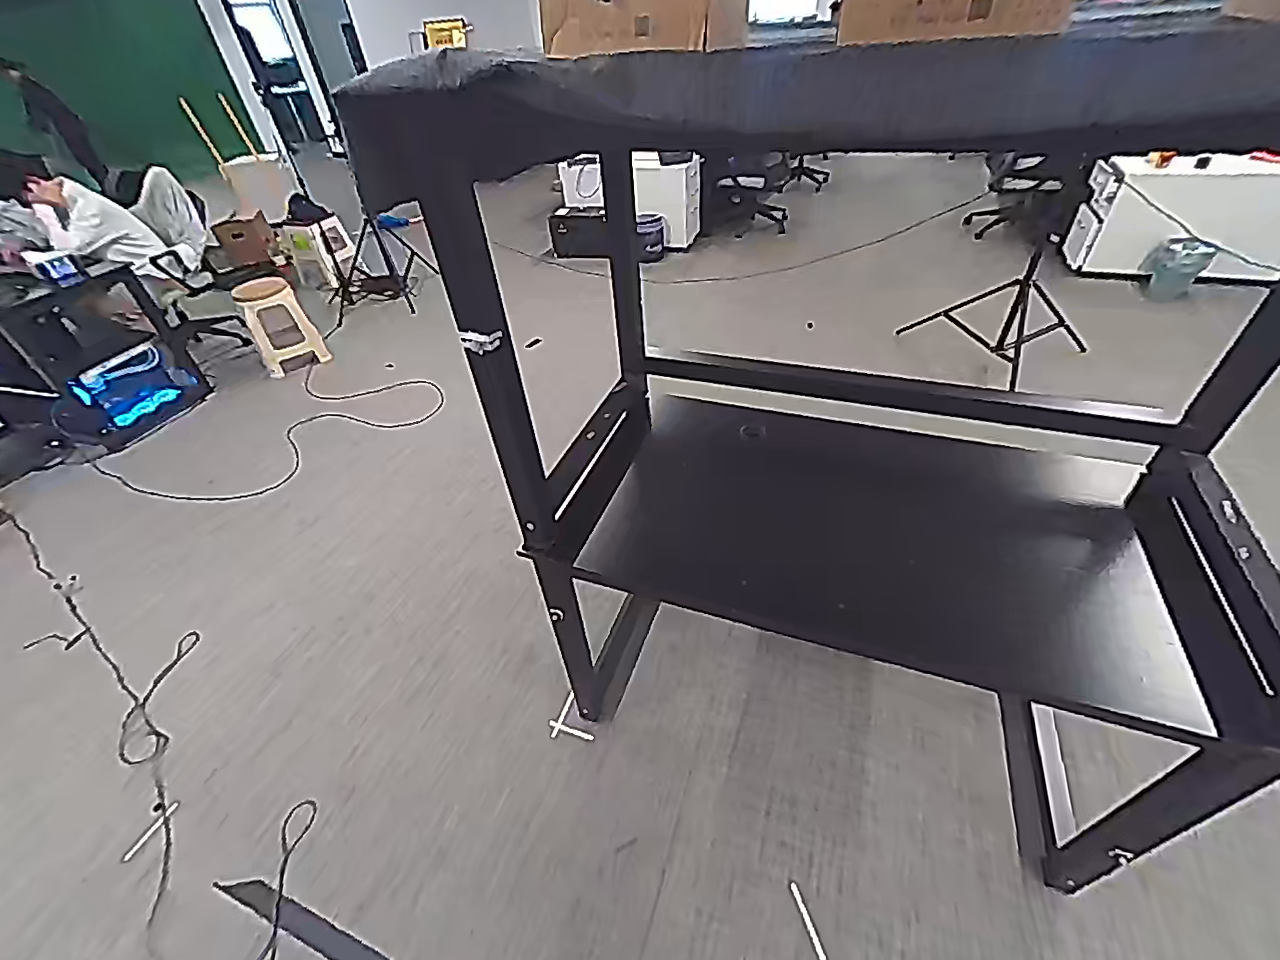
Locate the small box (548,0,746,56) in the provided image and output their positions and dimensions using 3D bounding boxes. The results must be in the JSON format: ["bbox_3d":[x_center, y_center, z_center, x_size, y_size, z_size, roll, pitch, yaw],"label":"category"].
[{"bbox_3d":[0.011,-0.515,0.513,0.168,0.176,0.179,12,42,17],"label":"small box"}]

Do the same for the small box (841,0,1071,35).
[{"bbox_3d":[0.266,-0.465,0.430,0.168,0.176,0.179,12,42,19],"label":"small box"}]

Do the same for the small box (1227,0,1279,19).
[{"bbox_3d":[0.546,-0.410,0.342,0.168,0.176,0.179,15,43,21],"label":"small box"}]
